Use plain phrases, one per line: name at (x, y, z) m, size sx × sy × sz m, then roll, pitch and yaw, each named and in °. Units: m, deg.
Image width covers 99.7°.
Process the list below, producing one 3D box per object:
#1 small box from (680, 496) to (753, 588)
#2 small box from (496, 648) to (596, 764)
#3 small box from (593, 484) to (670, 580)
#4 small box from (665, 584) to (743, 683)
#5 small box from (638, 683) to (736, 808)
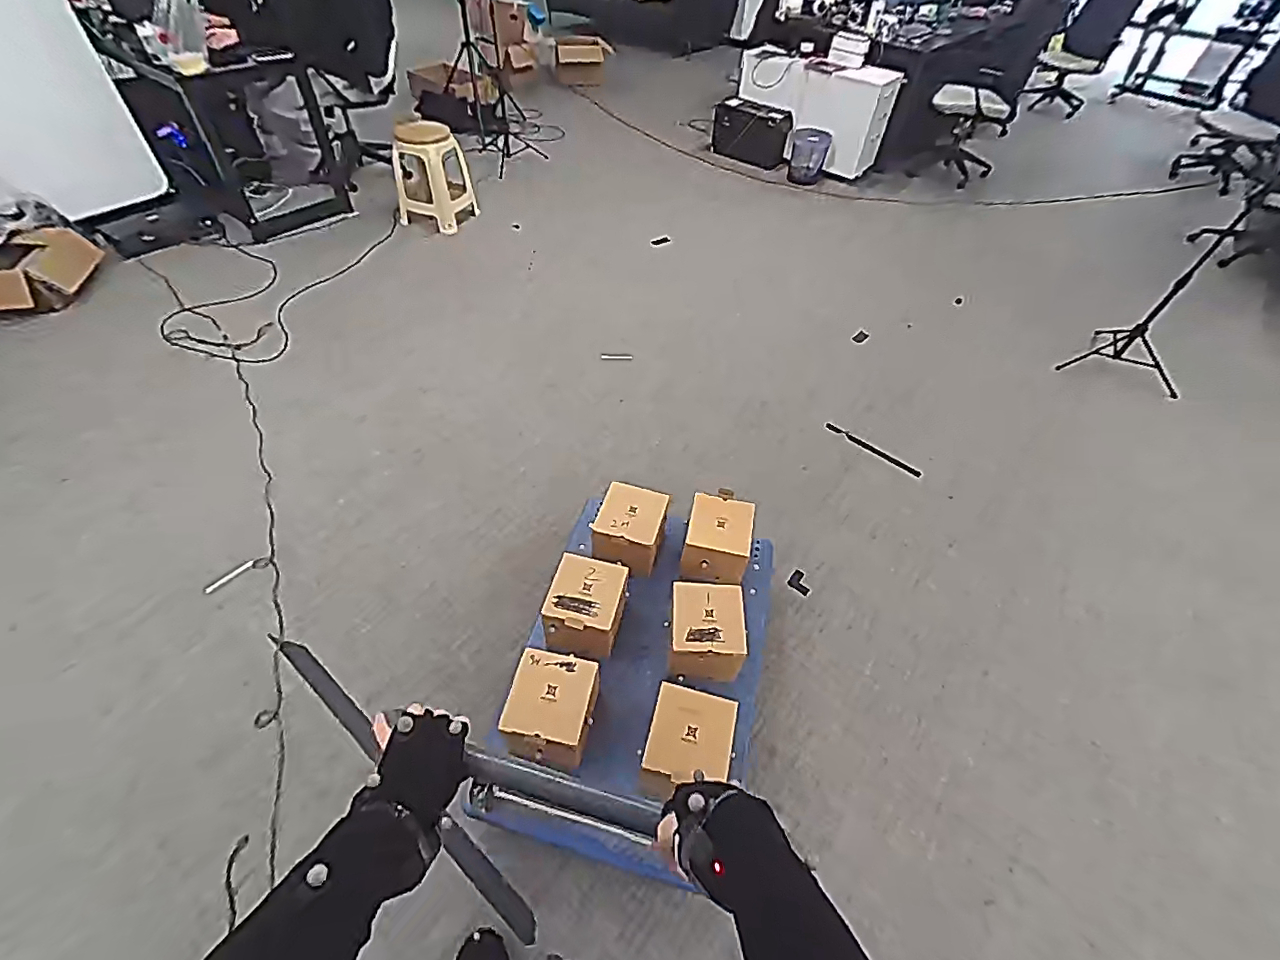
small box at (0.207, 0.174, 1.484) m, size 0.168 × 0.176 × 0.179 m, roll 12°, pitch 49°, yaw 6°
small box at (-0.193, 0.496, 1.178) m, size 0.168 × 0.176 × 0.179 m, roll 12°, pitch 50°, yaw 5°
small box at (-0.026, 0.144, 1.490) m, size 0.168 × 0.176 × 0.179 m, roll 15°, pitch 51°, yaw 9°
small box at (0.151, 0.374, 1.308) m, size 0.168 × 0.176 × 0.179 m, roll 5°, pitch 49°, yaw 0°
small box at (0.095, 0.564, 1.142) m, size 0.168 × 0.176 × 0.179 m, roll 14°, pitch 49°, yaw 8°
